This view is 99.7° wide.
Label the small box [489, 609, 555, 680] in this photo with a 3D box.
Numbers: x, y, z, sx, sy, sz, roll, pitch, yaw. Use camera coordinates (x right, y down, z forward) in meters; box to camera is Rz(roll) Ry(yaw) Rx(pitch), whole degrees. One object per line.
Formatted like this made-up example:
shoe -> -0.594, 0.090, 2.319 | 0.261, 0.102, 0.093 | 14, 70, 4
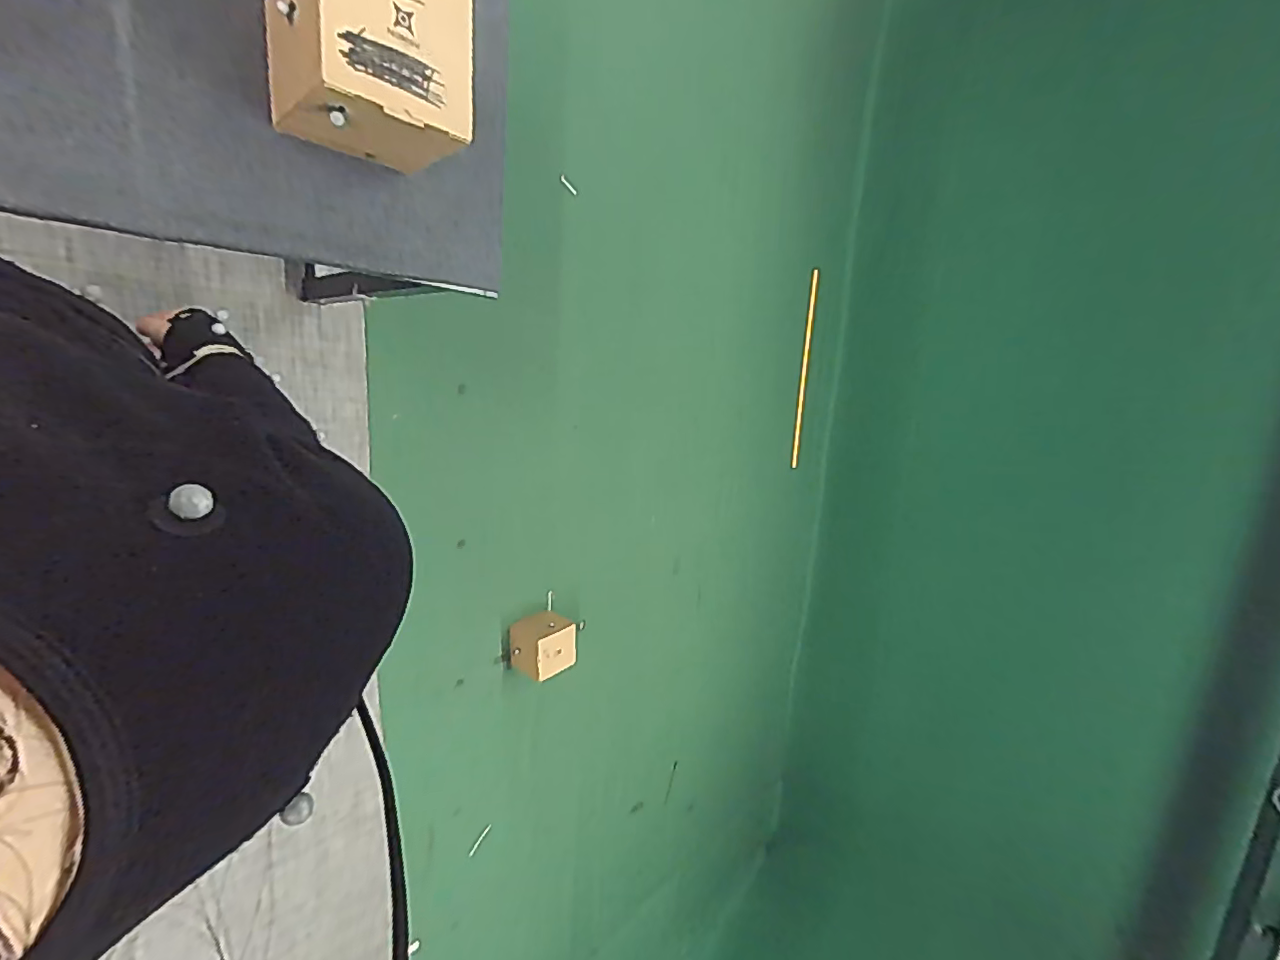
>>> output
small box -> -0.433, 0.598, 1.990 | 0.179, 0.176, 0.168 | -13, 110, -49
